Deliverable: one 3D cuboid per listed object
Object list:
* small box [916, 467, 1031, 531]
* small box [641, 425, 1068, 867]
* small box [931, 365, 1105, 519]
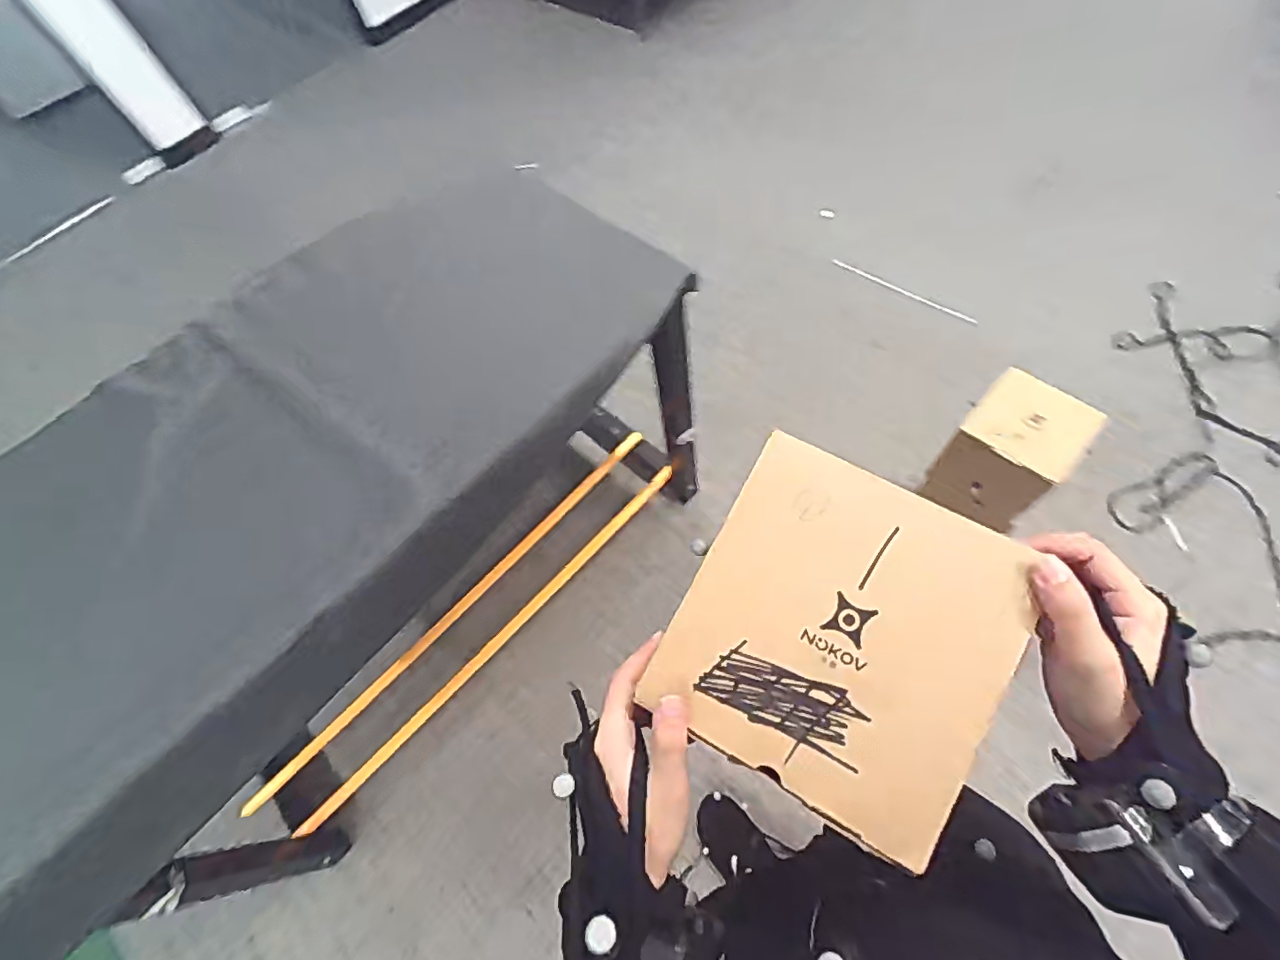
[{"bbox_3d":[0.684,0.017,1.107,0.179,0.176,0.168,37,72,24],"label":"small box"},{"bbox_3d":[0.124,0.094,0.366,0.168,0.176,0.179,29,84,13],"label":"small box"},{"bbox_3d":[0.658,-0.063,0.965,0.168,0.176,0.179,39,73,24],"label":"small box"}]
